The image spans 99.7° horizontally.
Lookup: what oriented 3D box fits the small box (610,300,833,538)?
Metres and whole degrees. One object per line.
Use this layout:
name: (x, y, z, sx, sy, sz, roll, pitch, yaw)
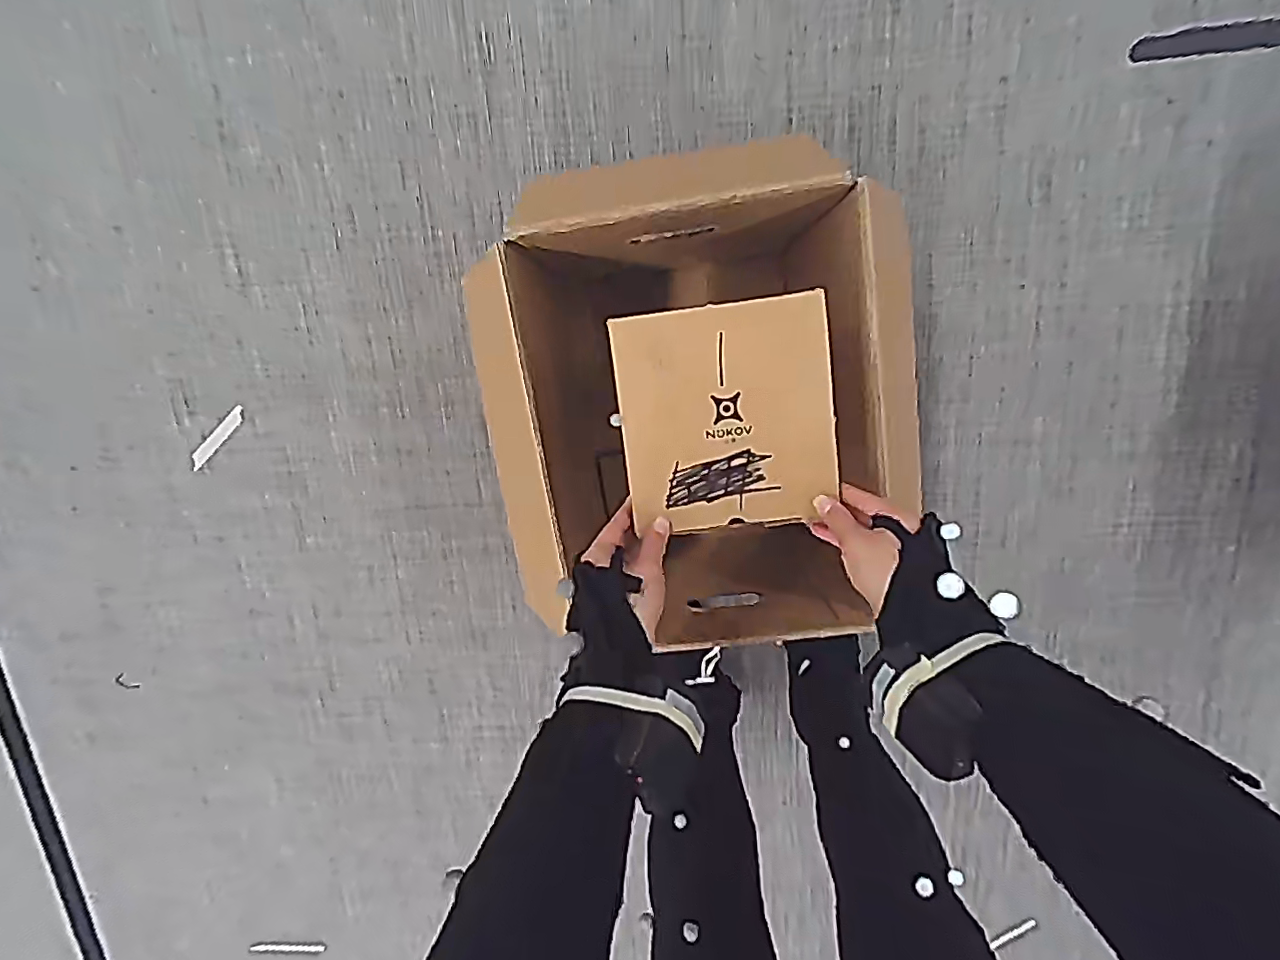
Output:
small box: (0.070, -0.056, 0.508, 0.168, 0.176, 0.179, -7, 97, 4)
